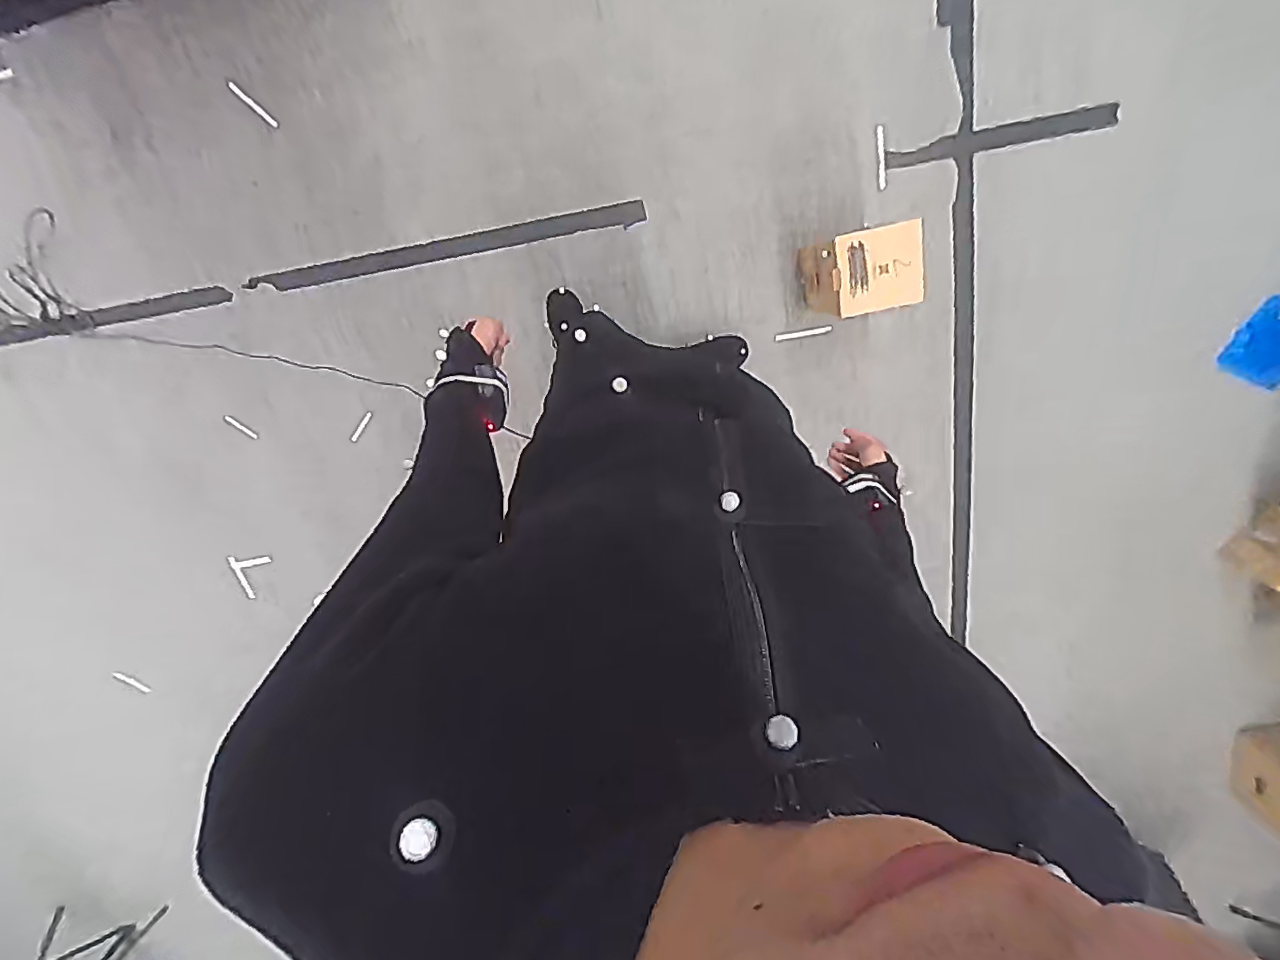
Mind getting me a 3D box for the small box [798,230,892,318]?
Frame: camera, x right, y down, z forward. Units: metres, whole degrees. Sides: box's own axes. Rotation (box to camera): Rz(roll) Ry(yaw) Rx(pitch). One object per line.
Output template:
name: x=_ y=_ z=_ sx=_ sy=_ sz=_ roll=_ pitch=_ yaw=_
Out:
small box: x=0.510 y=-0.518 z=1.357 sx=0.179 sy=0.176 sz=0.168 roll=-11 pitch=110 yaw=10
